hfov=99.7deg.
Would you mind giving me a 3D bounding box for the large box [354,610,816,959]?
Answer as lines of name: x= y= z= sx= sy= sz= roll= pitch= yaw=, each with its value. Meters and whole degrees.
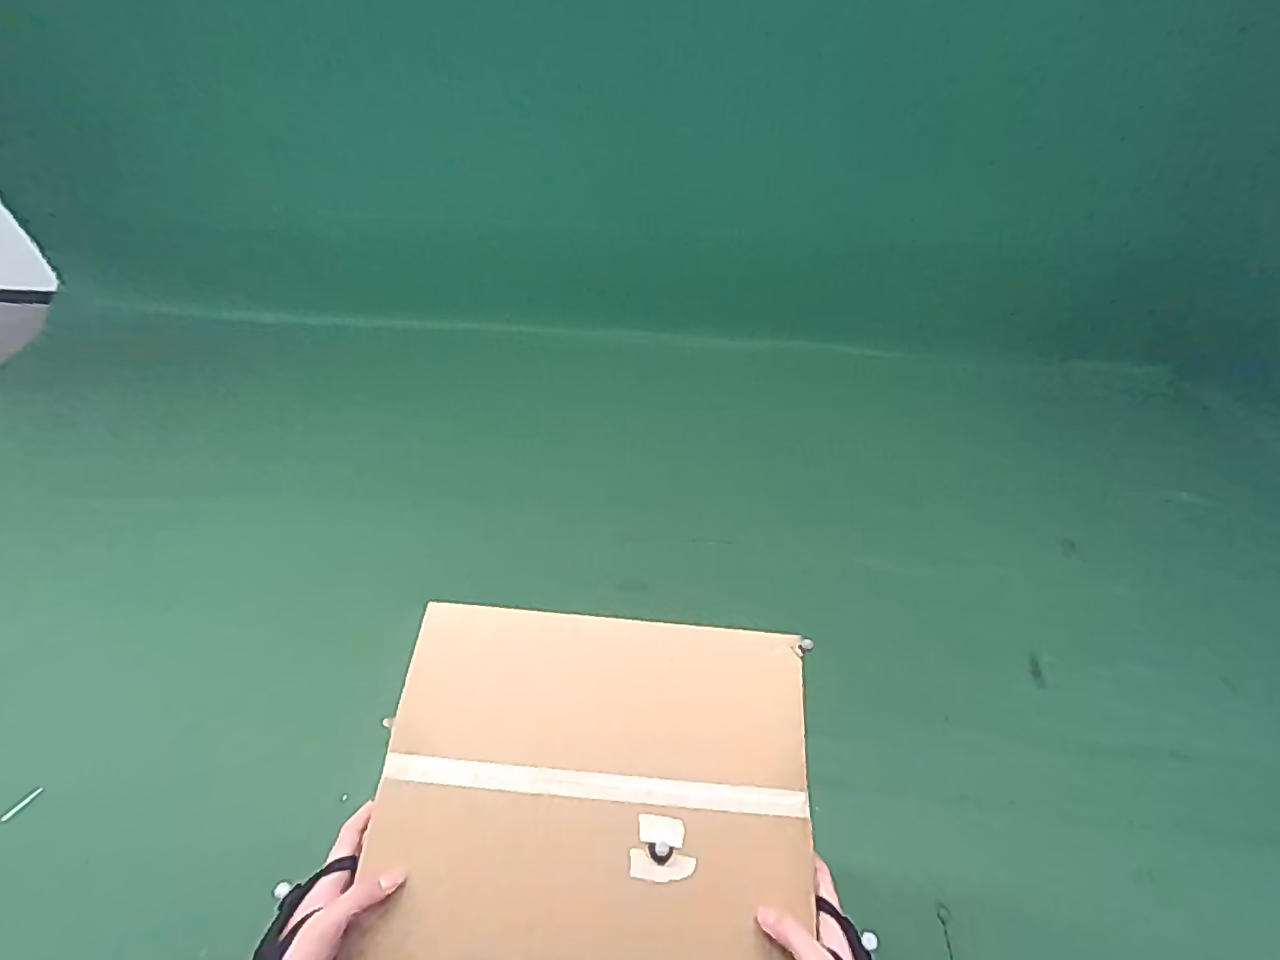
large box: x=-0.043 y=0.359 z=0.655 sx=0.408 sy=0.320 sz=0.320 roll=5 pitch=64 yaw=1
